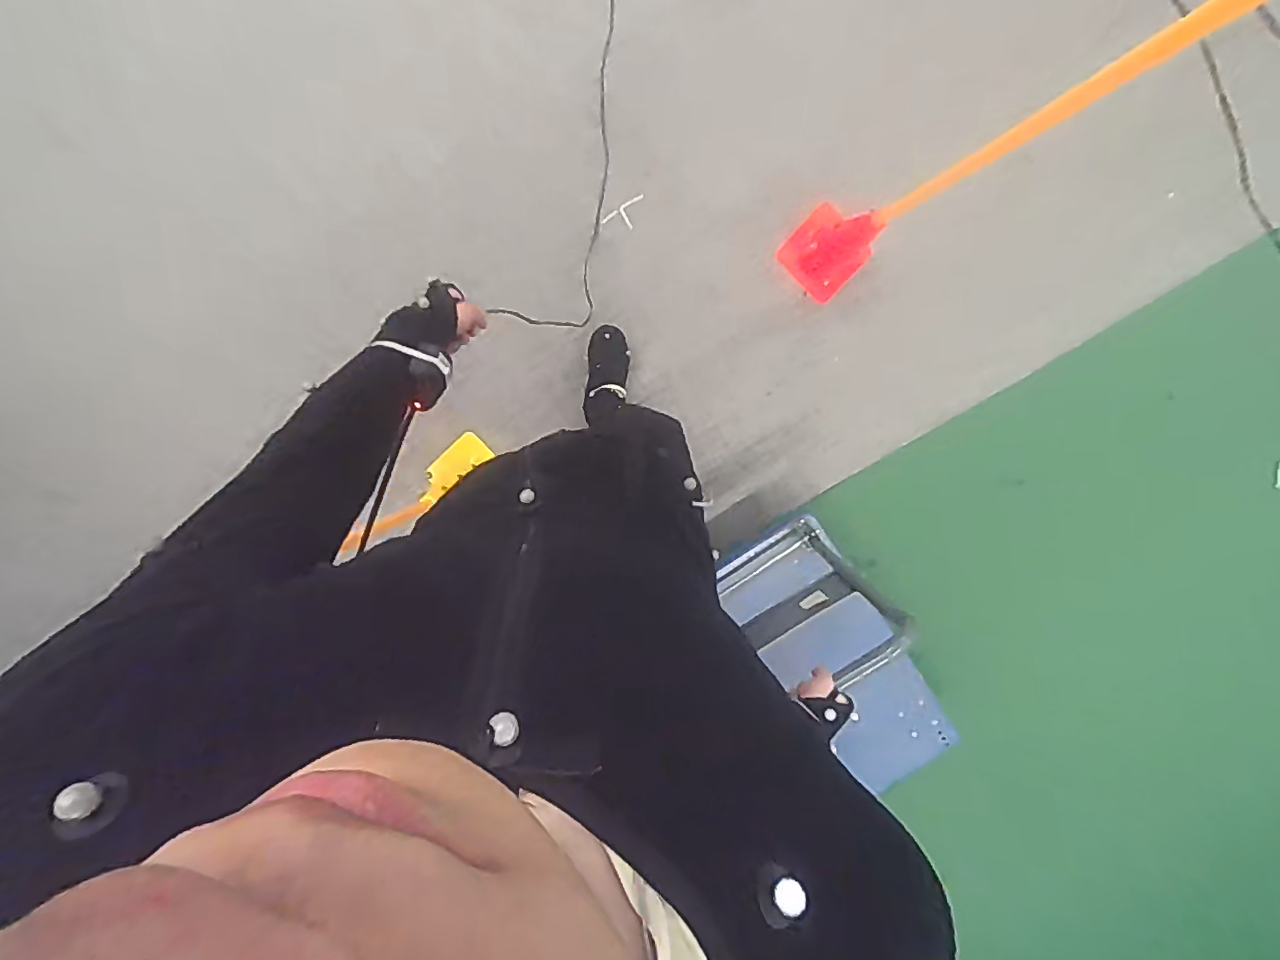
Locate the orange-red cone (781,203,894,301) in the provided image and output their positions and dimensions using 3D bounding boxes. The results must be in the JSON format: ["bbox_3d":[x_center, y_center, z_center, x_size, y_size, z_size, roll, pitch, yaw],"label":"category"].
[{"bbox_3d":[0.516,-0.590,1.314,0.198,0.360,0.199,43,97,-9],"label":"orange-red cone"}]
